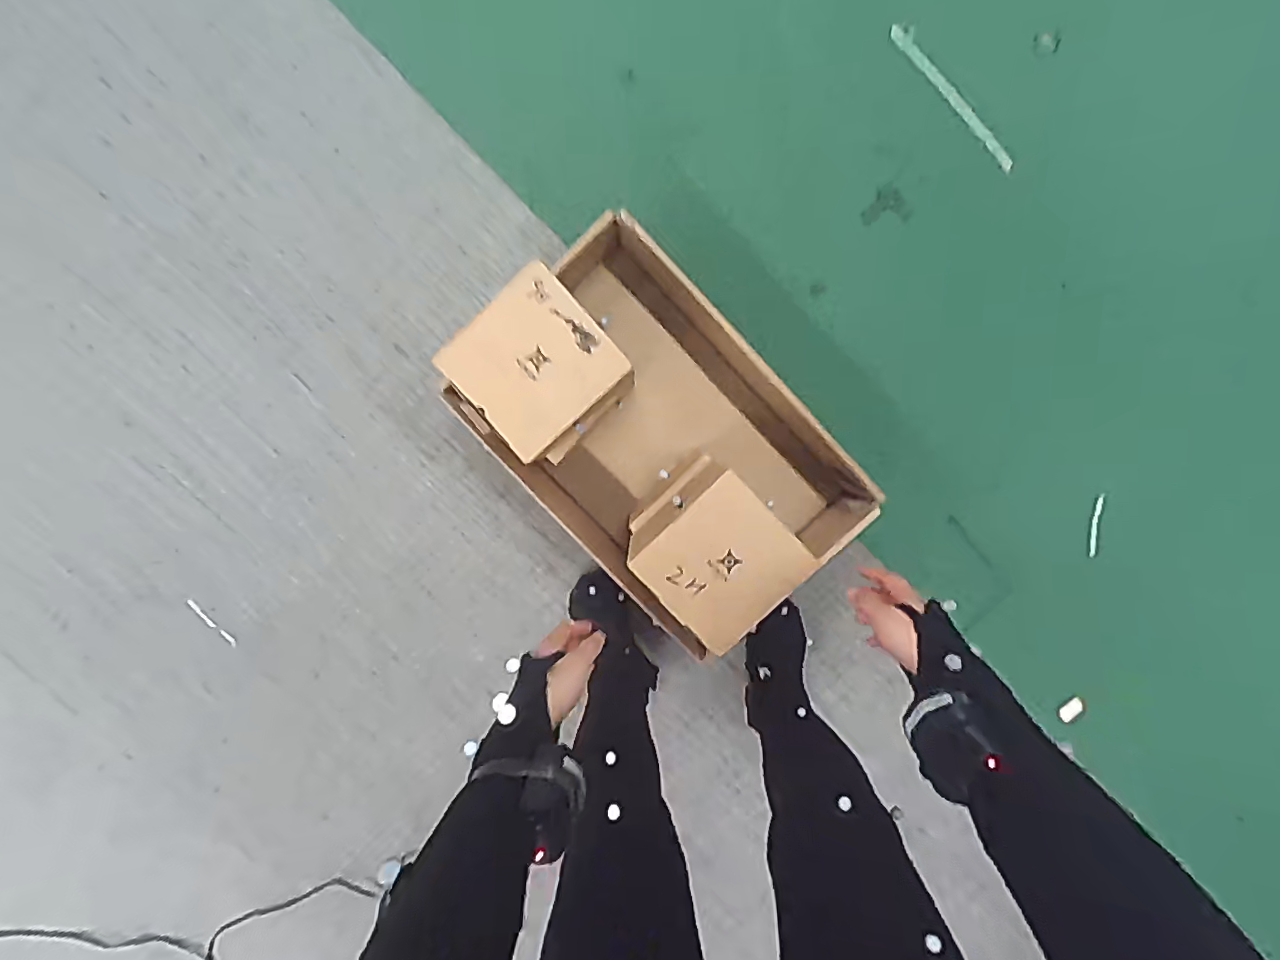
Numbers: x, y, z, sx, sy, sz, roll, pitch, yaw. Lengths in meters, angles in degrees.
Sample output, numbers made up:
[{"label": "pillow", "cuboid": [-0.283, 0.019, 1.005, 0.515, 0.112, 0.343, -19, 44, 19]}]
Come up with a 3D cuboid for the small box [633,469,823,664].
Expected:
[{"label": "small box", "cuboid": [0.105, 0.101, 0.728, 0.179, 0.176, 0.168, -44, 94, 6]}]

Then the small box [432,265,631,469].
[{"label": "small box", "cuboid": [-0.123, -0.137, 0.701, 0.179, 0.176, 0.168, -42, 95, 6]}]
